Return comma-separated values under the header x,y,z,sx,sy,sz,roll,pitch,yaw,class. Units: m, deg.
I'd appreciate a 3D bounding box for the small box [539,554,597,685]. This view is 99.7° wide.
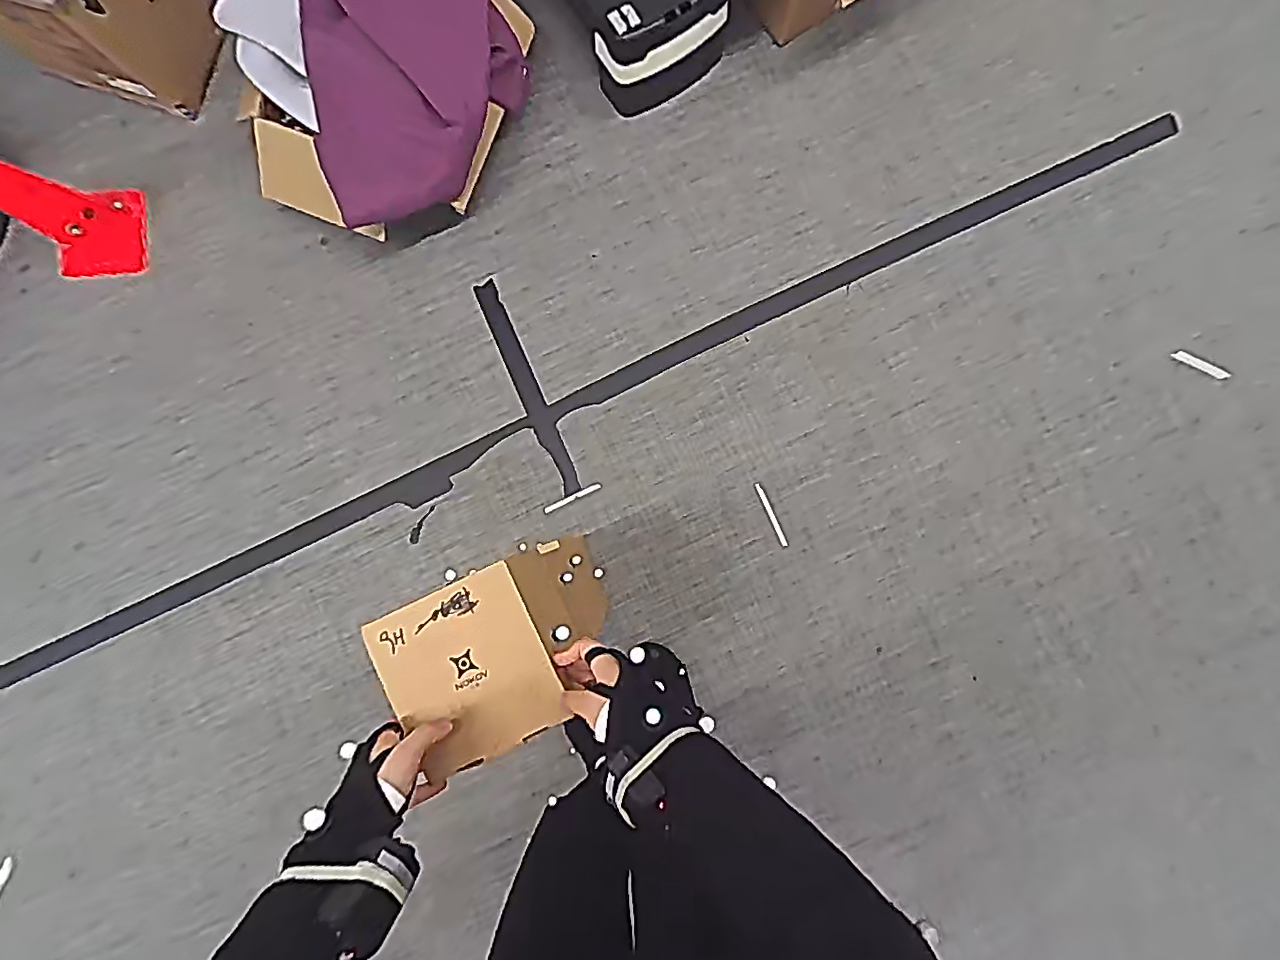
x,y,z,sx,sy,sz,roll,pitch,yaw,class
-0.171,0.214,0.786,0.168,0.176,0.179,-21,88,0,small box

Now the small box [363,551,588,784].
x,y,z,sx,sy,sz,roll,pitch,yaw,class
-0.171,0.197,0.623,0.168,0.176,0.179,-25,88,0,small box

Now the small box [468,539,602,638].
x,y,z,sx,sy,sz,roll,pitch,yaw,class
-0.176,0.210,0.949,0.168,0.176,0.179,-21,88,0,small box

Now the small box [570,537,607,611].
x,y,z,sx,sy,sz,roll,pitch,yaw,class
-0.178,0.225,1.113,0.179,0.176,0.168,-21,87,-1,small box
